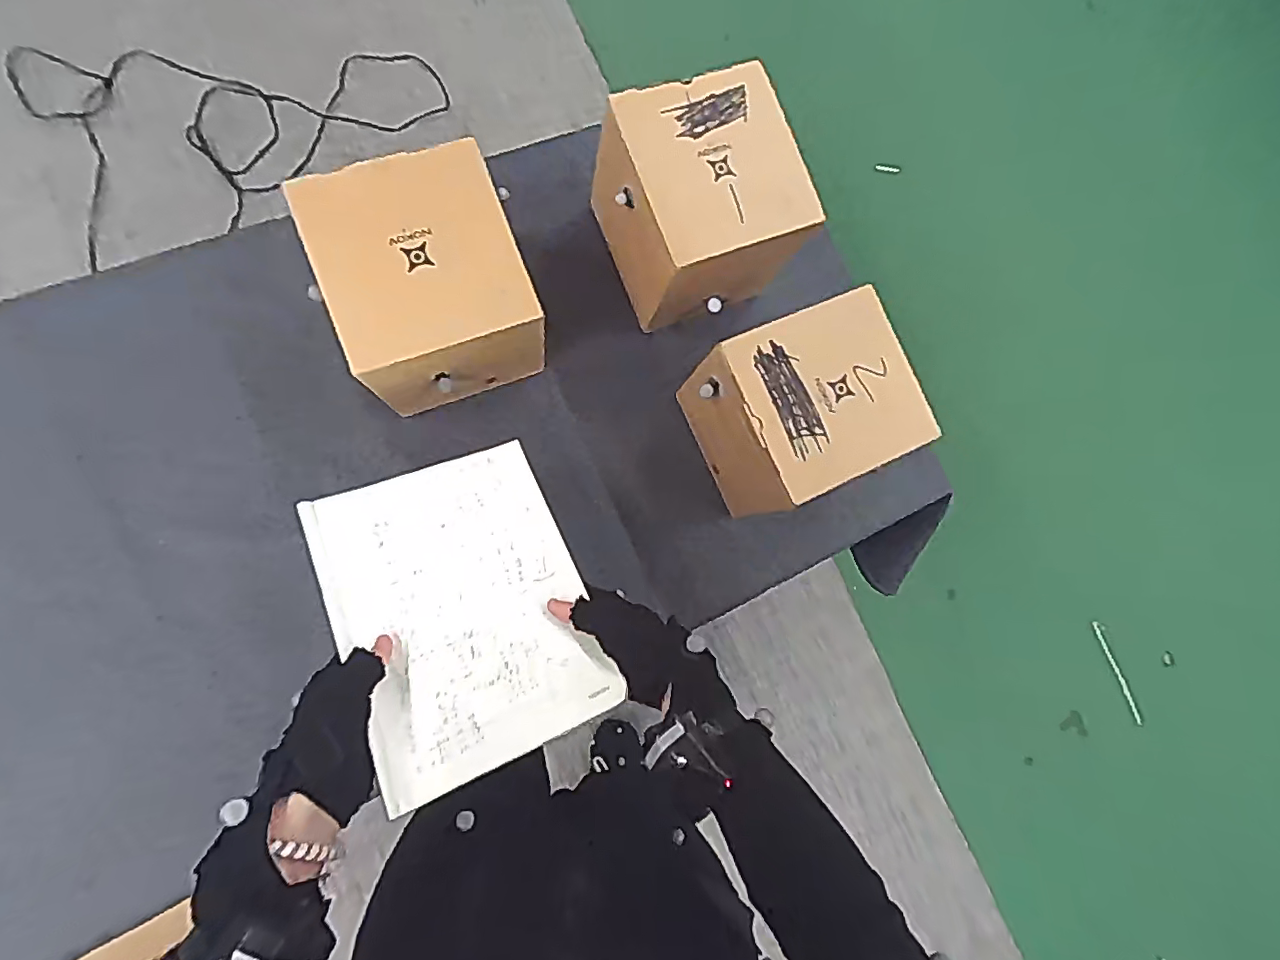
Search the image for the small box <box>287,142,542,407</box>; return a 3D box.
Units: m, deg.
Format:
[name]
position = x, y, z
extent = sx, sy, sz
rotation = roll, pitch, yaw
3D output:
[small box]
position = -0.202, -0.184, 0.540
extent = 0.168, 0.176, 0.179
rotation = -22, 88, -11
